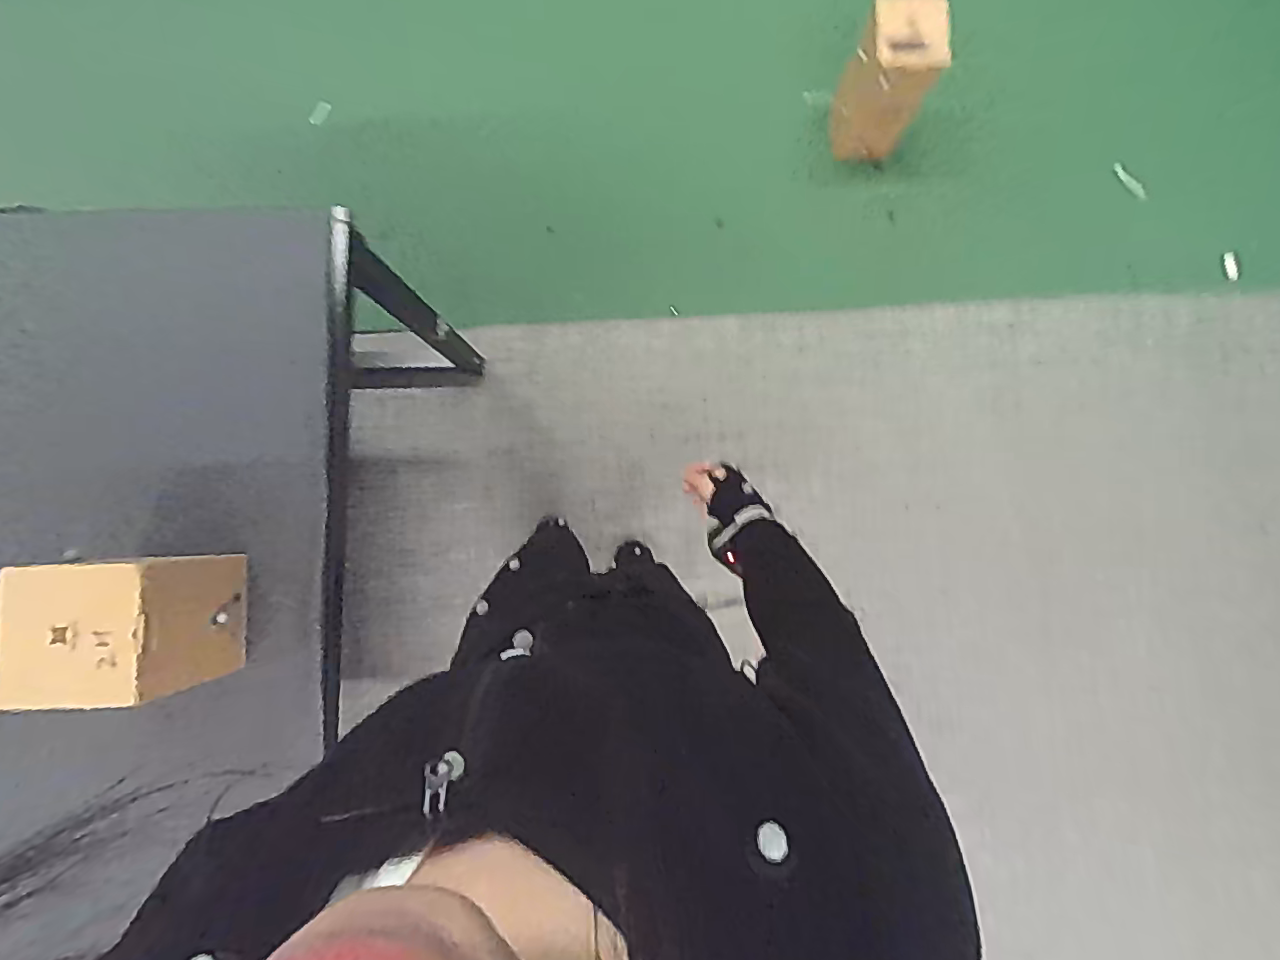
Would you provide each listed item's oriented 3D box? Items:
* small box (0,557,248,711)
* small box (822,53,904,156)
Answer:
[{"bbox_3d":[-0.665,0.191,0.711,0.179,0.176,0.168,-2,86,1],"label":"small box"},{"bbox_3d":[0.620,-1.050,1.520,0.168,0.176,0.179,0,86,1],"label":"small box"}]
